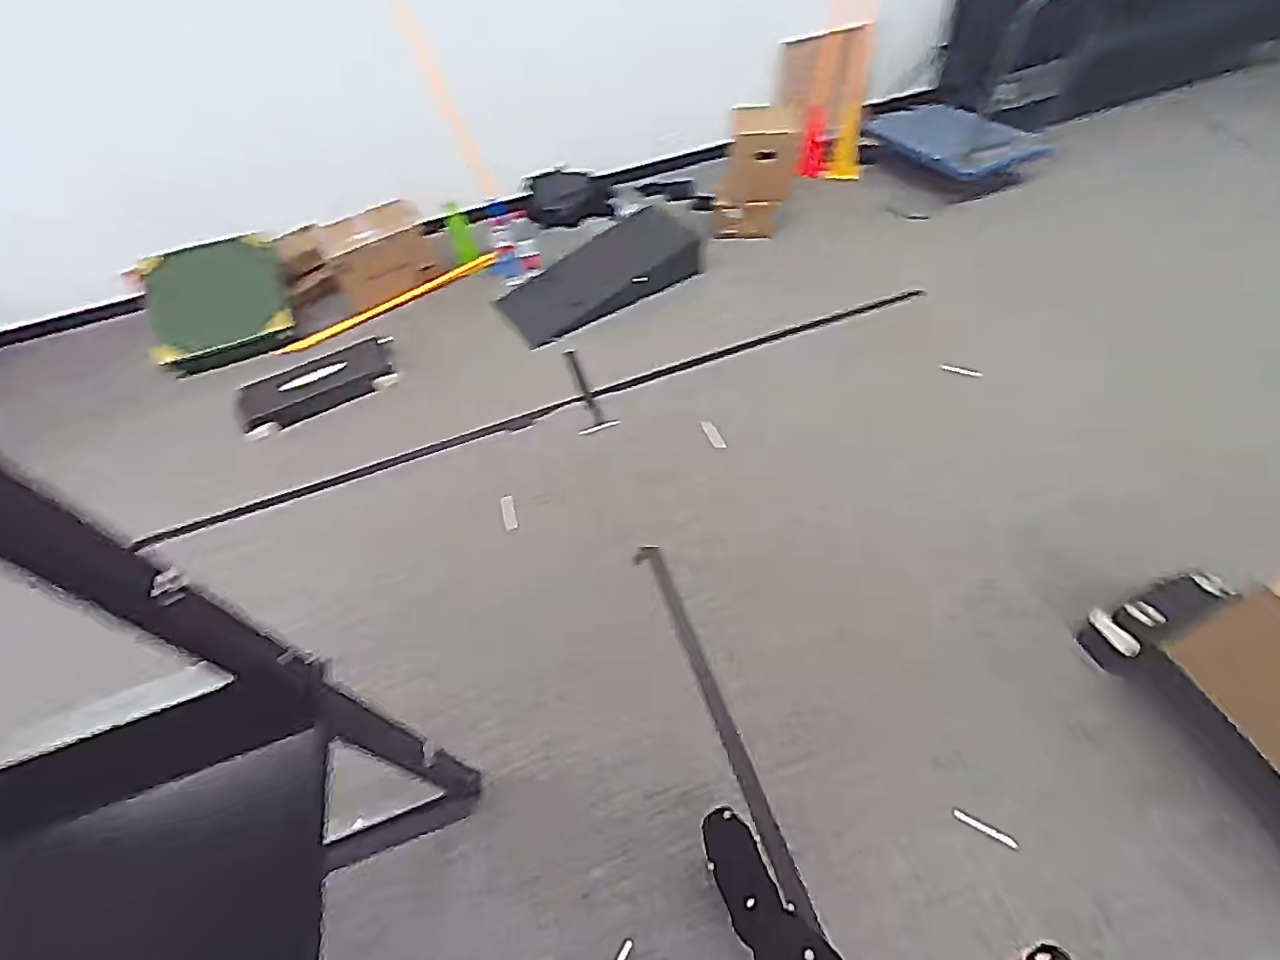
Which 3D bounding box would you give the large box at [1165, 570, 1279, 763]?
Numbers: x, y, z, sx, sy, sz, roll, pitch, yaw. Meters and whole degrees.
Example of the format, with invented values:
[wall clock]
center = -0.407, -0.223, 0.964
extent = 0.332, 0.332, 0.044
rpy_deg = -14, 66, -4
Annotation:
[large box]
center = 1.342, 0.373, 0.978
extent = 0.320, 0.320, 0.408
rpy_deg = -16, 49, -6
